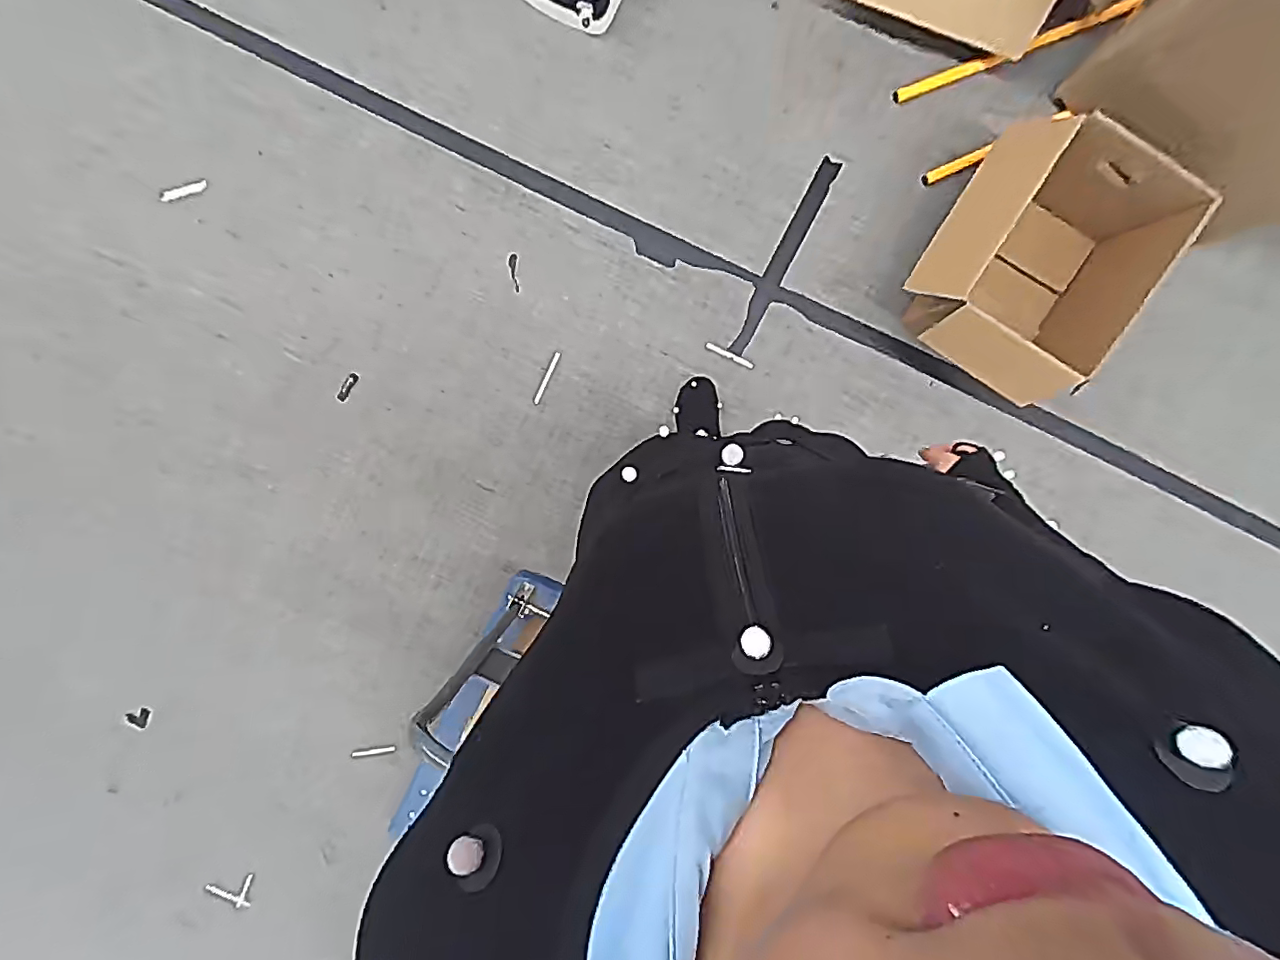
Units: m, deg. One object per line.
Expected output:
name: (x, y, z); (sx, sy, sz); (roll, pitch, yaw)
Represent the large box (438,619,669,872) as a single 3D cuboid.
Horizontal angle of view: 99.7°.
large box: (-0.174, 0.592, 1.267); (0.408, 0.320, 0.320); (27, 98, 0)
